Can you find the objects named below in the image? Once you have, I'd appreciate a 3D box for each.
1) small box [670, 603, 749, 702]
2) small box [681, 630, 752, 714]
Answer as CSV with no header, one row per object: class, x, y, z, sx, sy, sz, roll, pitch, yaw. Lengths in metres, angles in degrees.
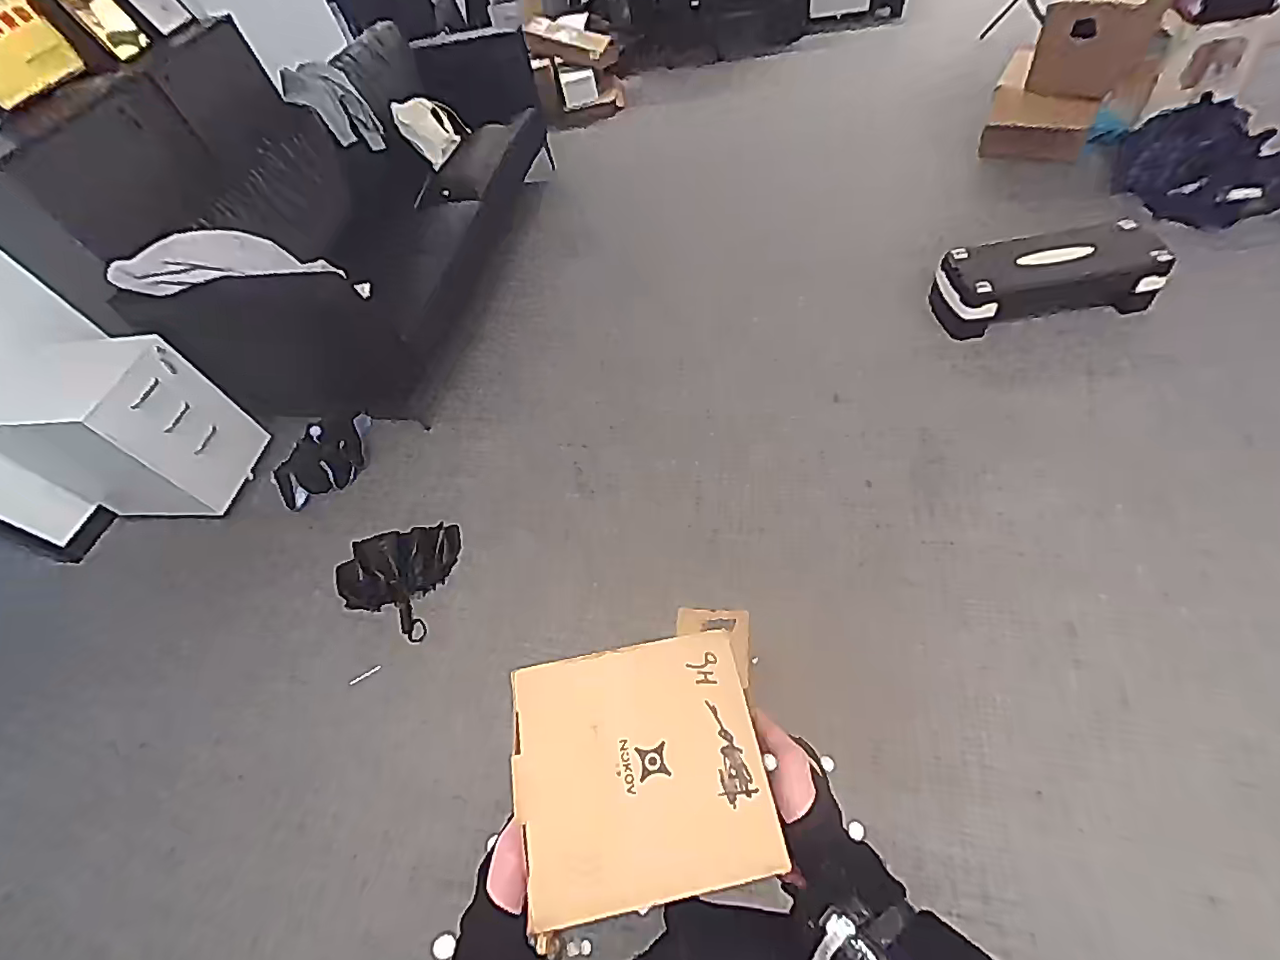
small box,0.170,0.408,1.278,0.168,0.176,0.179,-1,56,14
small box,0.204,0.496,1.413,0.168,0.176,0.179,-1,57,14
